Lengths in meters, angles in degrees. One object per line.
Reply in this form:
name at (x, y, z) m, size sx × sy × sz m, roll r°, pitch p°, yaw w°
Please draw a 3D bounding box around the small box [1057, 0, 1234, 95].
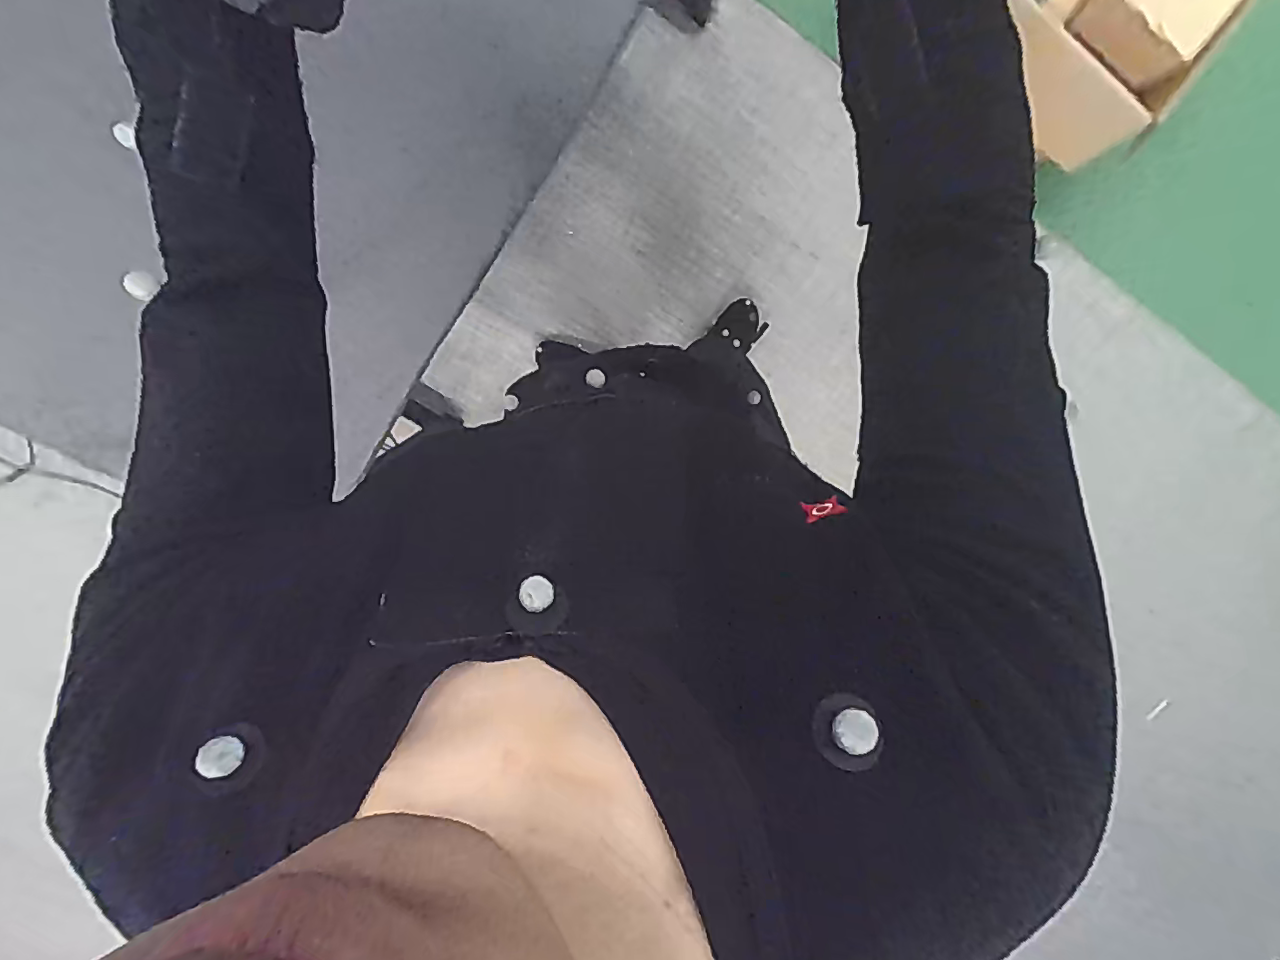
small box at (0.926, -0.861, 0.982) m, size 0.168 × 0.176 × 0.179 m, roll 34°, pitch 102°, yaw -8°
